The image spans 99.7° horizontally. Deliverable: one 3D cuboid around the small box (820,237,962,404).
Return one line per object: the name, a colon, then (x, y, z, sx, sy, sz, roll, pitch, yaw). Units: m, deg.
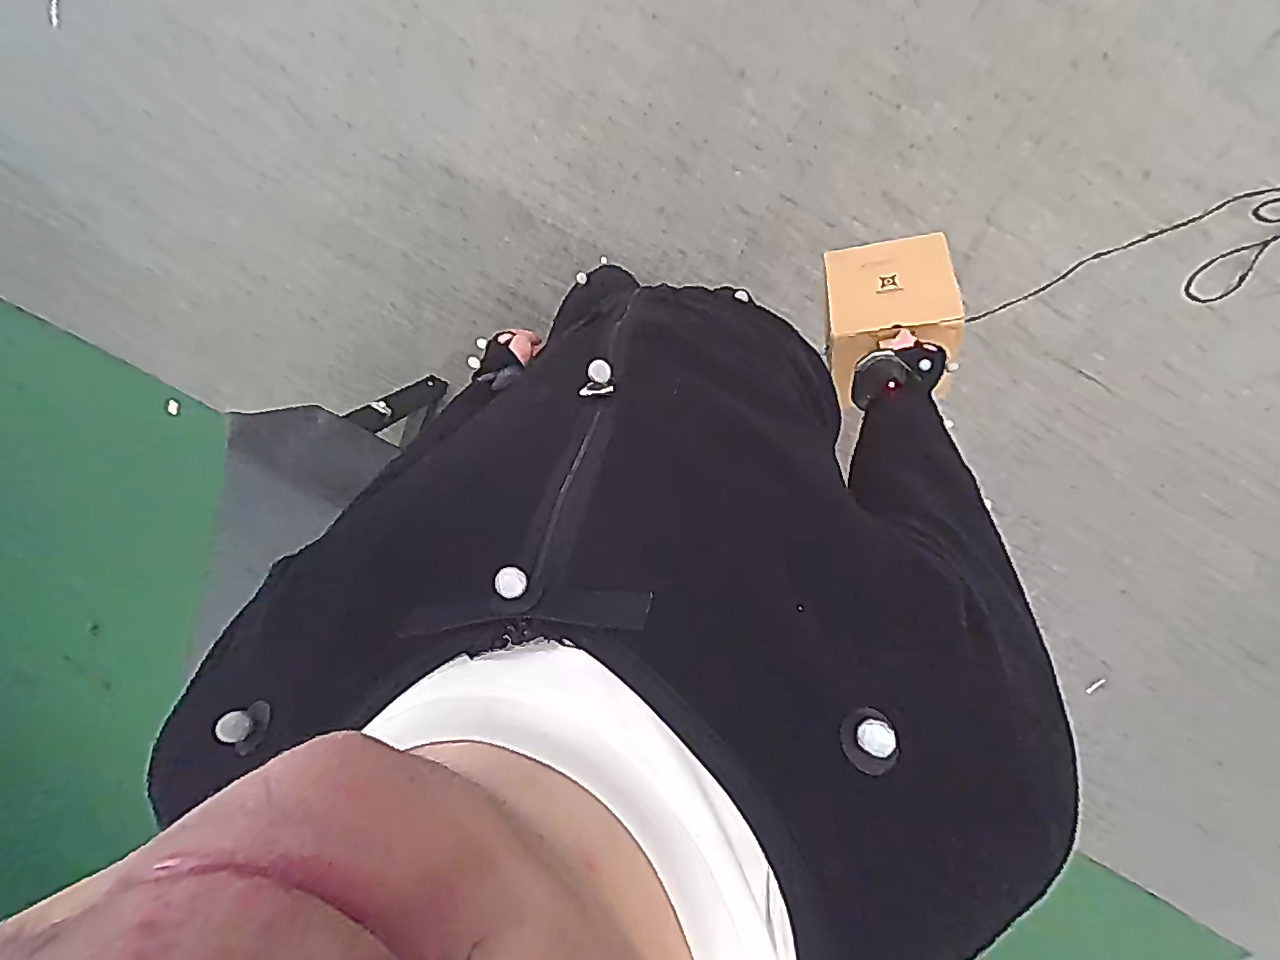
small box: (0.364, -0.229, 0.817, 0.168, 0.179, 0.176, -3, 147, 15)
